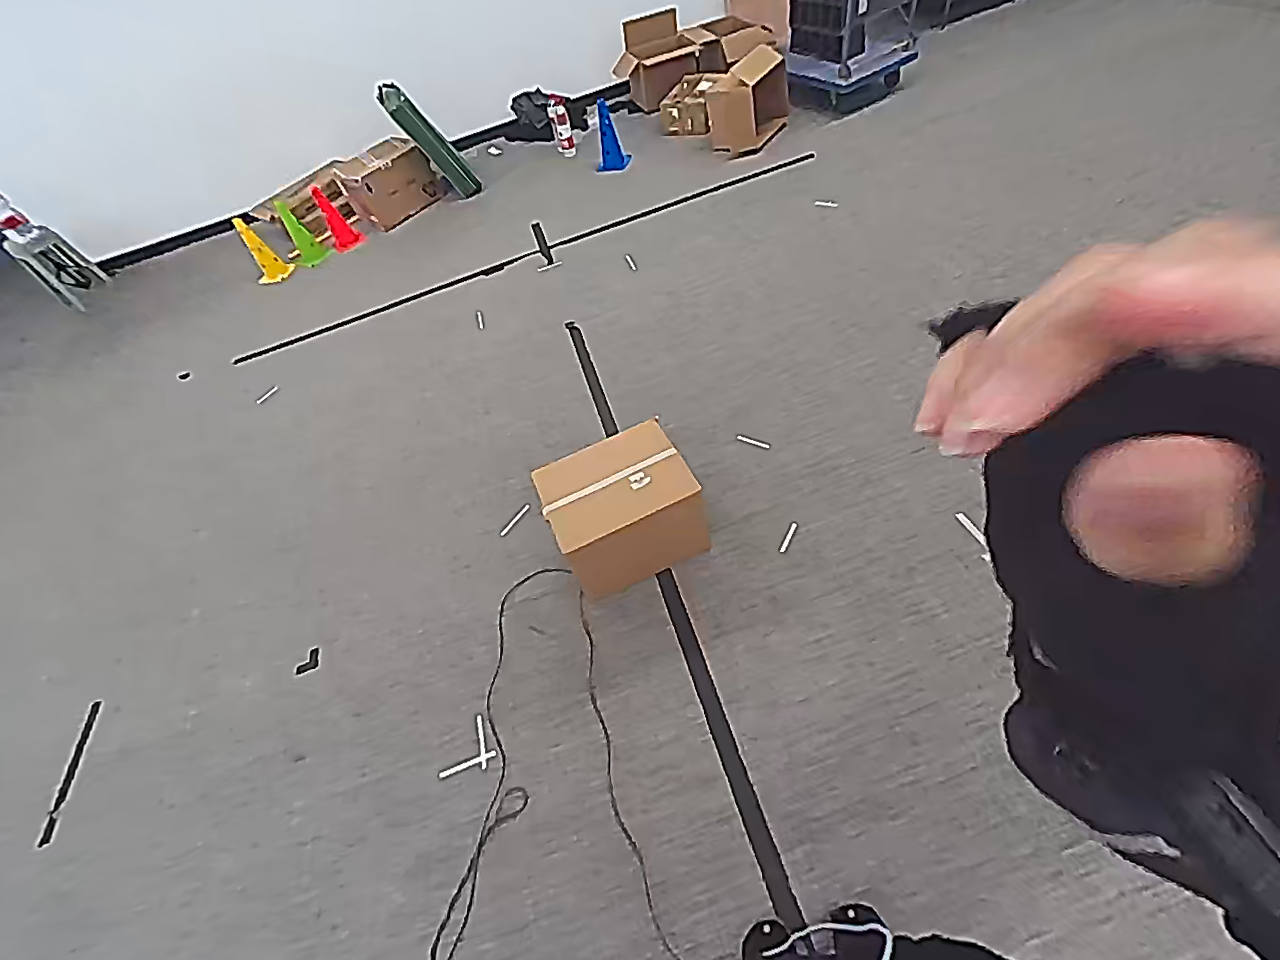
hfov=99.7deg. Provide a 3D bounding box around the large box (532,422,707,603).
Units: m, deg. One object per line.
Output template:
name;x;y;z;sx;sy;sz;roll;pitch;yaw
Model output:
large box;-0.053;0.100;1.611;0.408;0.320;0.320;-24;52;-7
